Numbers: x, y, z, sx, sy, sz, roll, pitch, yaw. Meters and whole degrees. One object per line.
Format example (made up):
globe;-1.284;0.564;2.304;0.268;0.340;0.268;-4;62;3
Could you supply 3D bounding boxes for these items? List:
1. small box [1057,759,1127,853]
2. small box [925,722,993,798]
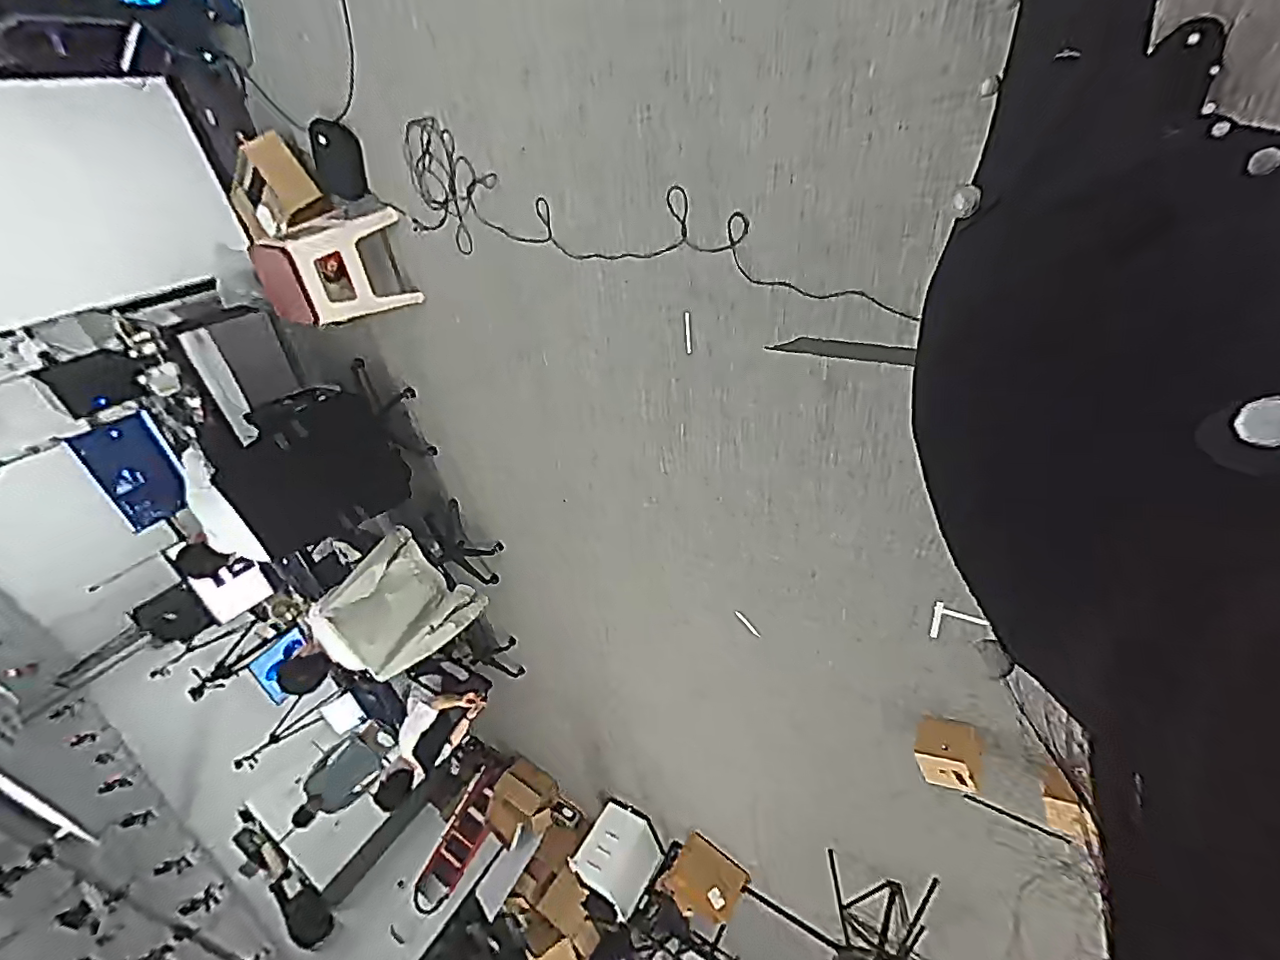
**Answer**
small box;1.479;1.060;1.767;0.168;0.176;0.179;-5;118;41
small box;1.178;1.021;1.986;0.179;0.176;0.168;-11;114;46
